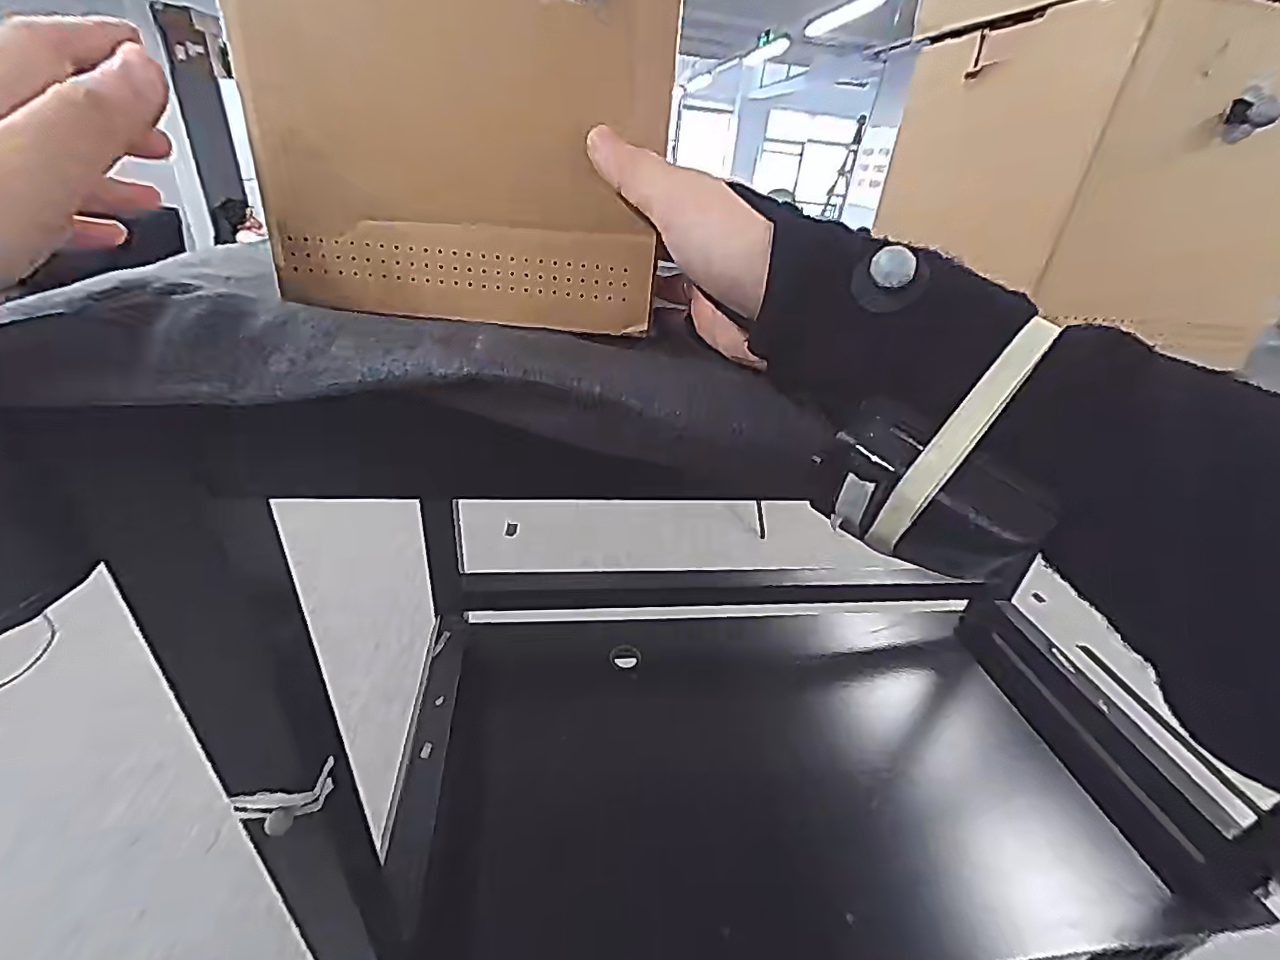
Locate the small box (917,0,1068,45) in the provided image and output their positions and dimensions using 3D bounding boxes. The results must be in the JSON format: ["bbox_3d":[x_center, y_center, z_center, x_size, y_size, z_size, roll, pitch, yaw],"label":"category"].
[{"bbox_3d":[0.285,-0.325,0.278,0.179,0.176,0.168,-5,29,-16],"label":"small box"}]

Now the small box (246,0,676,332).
[{"bbox_3d":[-0.077,-0.182,0.292,0.179,0.176,0.168,4,27,-4],"label":"small box"}]

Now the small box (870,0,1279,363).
[{"bbox_3d":[0.275,-0.179,0.348,0.179,0.176,0.168,-1,29,-12],"label":"small box"}]
